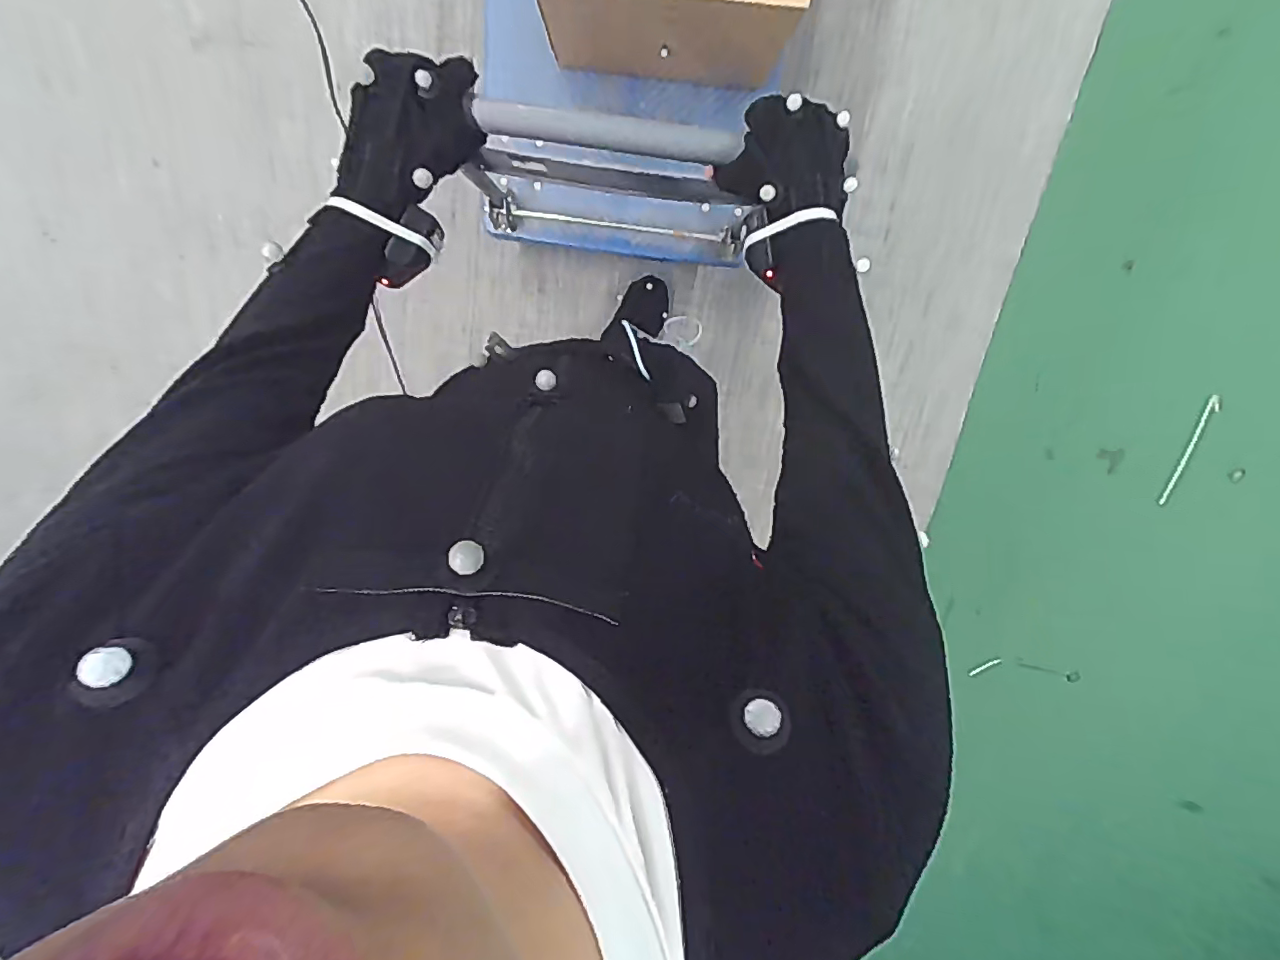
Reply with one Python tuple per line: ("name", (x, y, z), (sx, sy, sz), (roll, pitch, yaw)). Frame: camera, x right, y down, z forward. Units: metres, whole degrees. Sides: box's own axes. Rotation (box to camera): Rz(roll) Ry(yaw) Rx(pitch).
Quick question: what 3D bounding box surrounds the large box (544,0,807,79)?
("large box", (0.062, -0.898, 0.878), (0.408, 0.320, 0.320), (5, 108, -1))
